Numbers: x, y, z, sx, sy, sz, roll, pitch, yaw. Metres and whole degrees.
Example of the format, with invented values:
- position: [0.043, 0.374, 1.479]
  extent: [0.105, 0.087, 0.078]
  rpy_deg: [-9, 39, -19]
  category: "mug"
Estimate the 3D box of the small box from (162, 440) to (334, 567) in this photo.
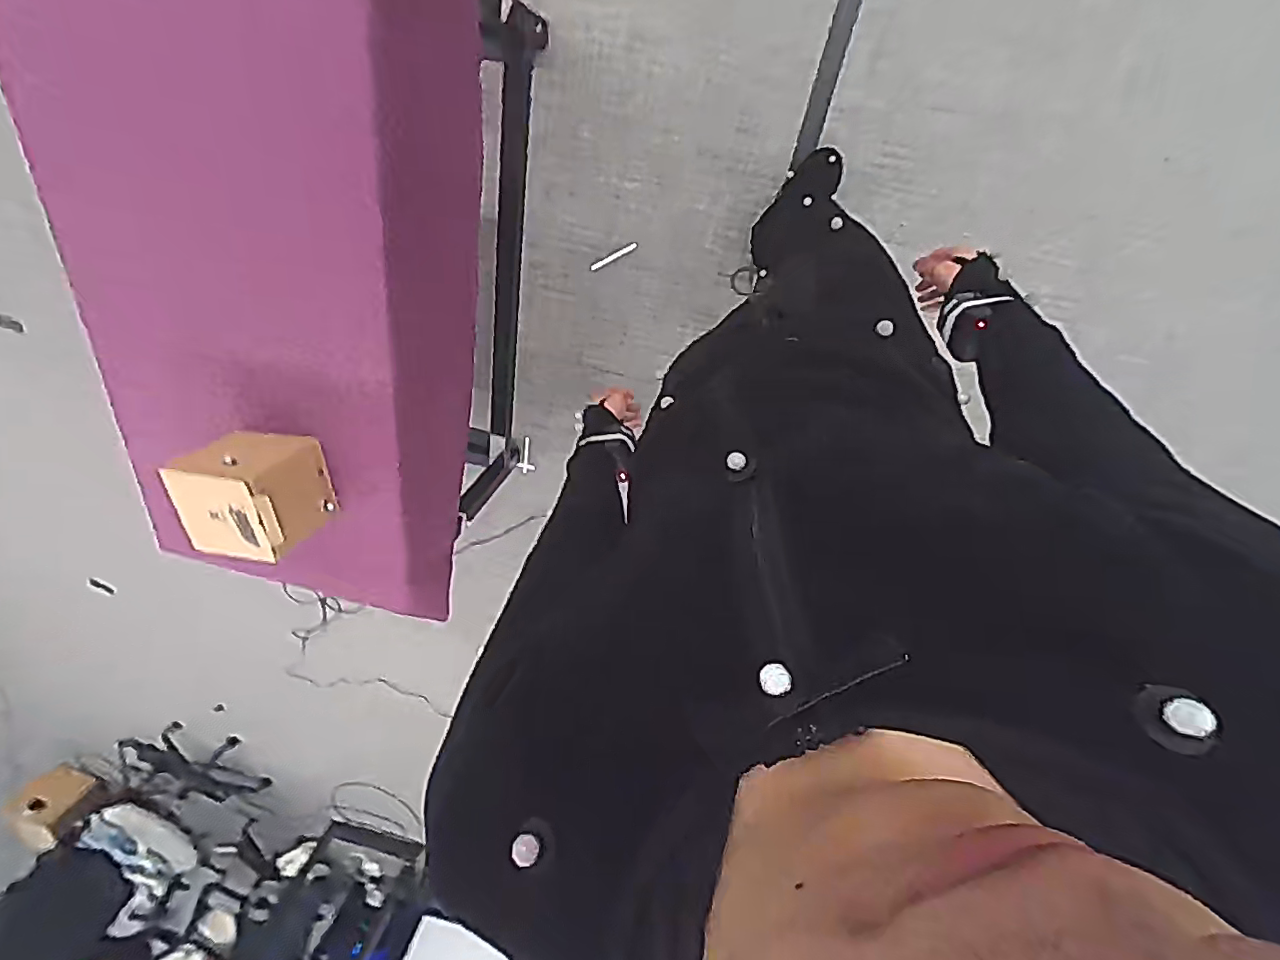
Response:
- position: [-0.698, 0.036, 0.993]
  extent: [0.179, 0.176, 0.168]
  rpy_deg: [5, 119, 9]
  category: "small box"
